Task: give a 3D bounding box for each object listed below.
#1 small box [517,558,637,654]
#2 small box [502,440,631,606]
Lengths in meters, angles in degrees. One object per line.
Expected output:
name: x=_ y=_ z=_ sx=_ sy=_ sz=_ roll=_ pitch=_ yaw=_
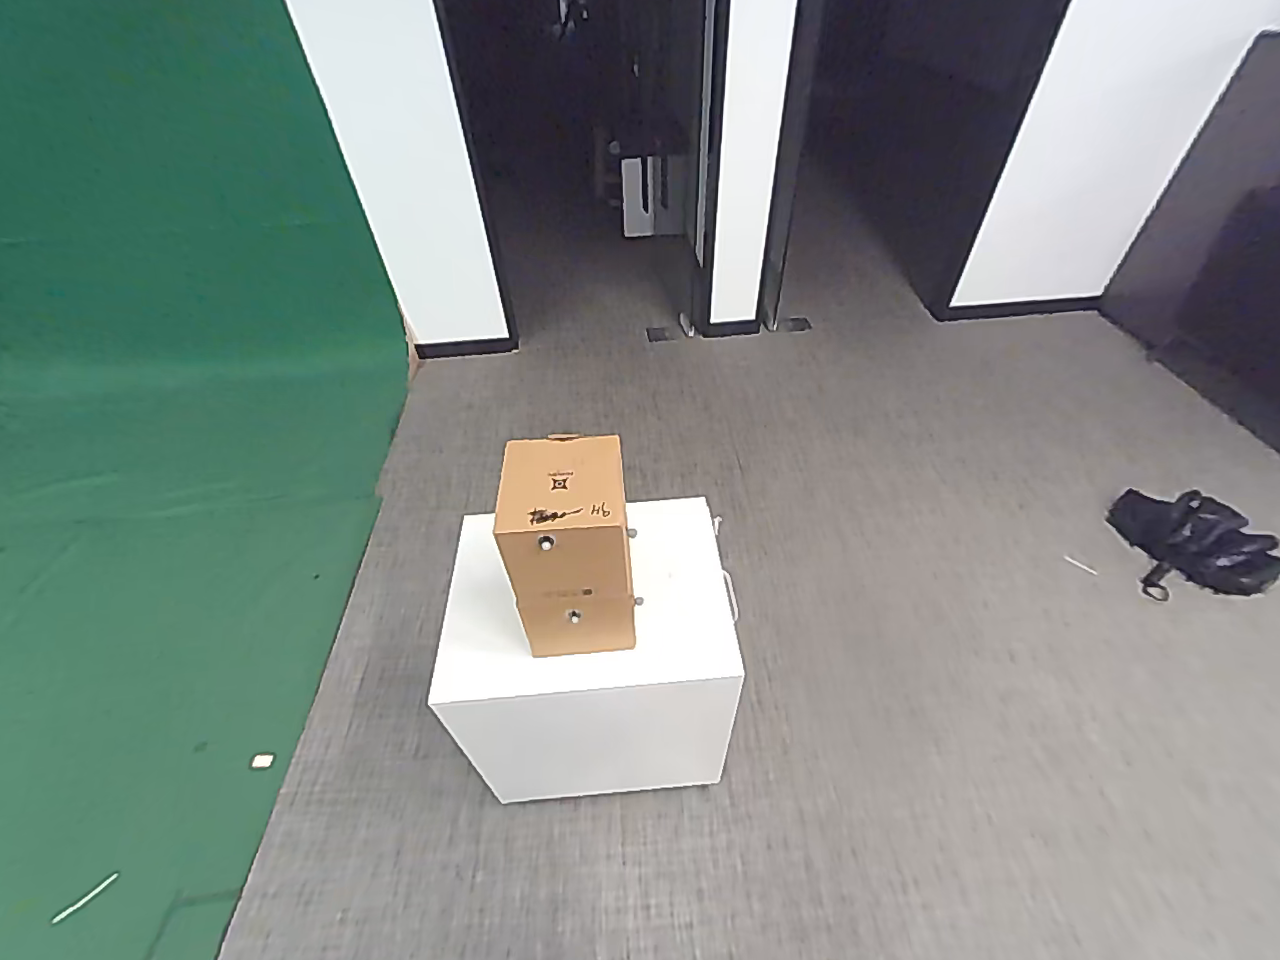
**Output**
small box: x=-0.099 y=0.179 z=0.913 sx=0.179 sy=0.176 sz=0.168 roll=-4 pitch=45 yaw=-3
small box: x=-0.102 y=0.063 z=0.801 sx=0.168 sy=0.176 sz=0.179 roll=-5 pitch=46 yaw=-4
